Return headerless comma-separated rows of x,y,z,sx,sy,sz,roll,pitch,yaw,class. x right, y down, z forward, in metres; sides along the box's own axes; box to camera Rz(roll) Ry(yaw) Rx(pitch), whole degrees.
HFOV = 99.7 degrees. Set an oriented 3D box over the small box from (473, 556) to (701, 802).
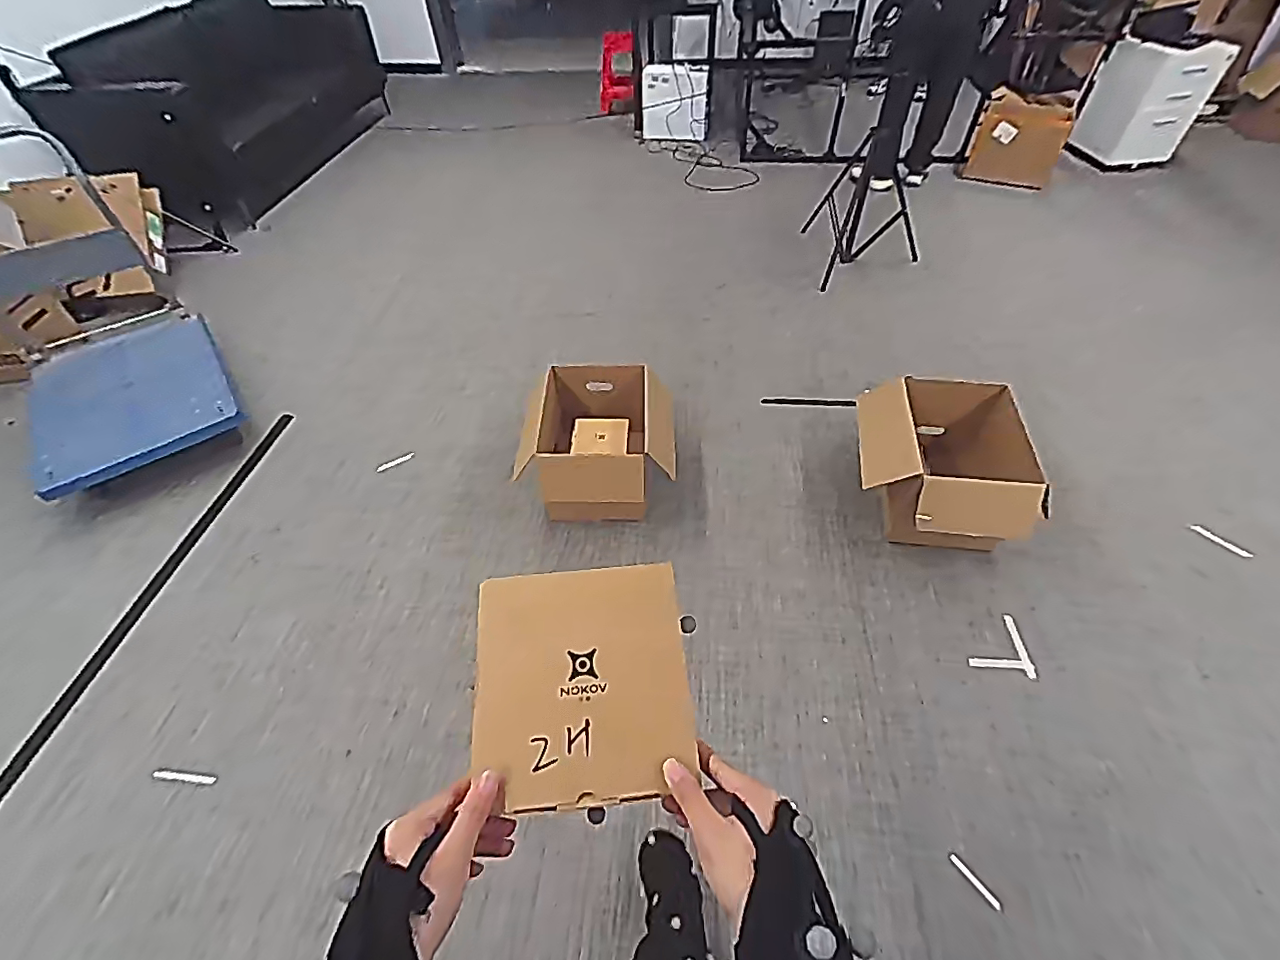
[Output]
-0.046,0.186,0.494,0.168,0.176,0.179,-5,61,-3,small box
